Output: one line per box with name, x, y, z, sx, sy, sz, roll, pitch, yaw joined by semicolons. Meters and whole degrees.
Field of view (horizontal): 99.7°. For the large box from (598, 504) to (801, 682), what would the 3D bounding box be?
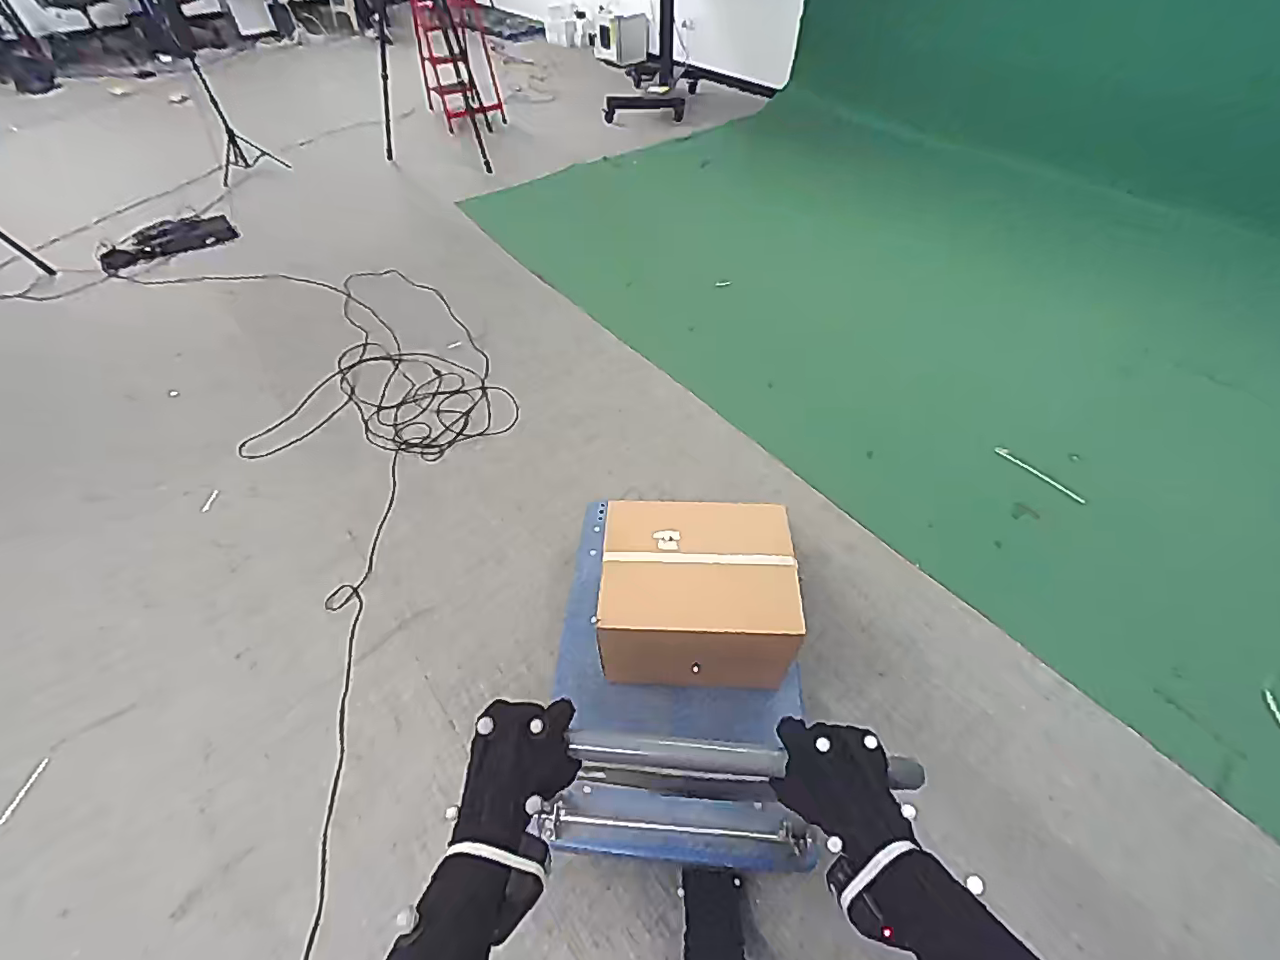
large box;0.124;0.268;1.262;0.408;0.320;0.320;0;50;2
